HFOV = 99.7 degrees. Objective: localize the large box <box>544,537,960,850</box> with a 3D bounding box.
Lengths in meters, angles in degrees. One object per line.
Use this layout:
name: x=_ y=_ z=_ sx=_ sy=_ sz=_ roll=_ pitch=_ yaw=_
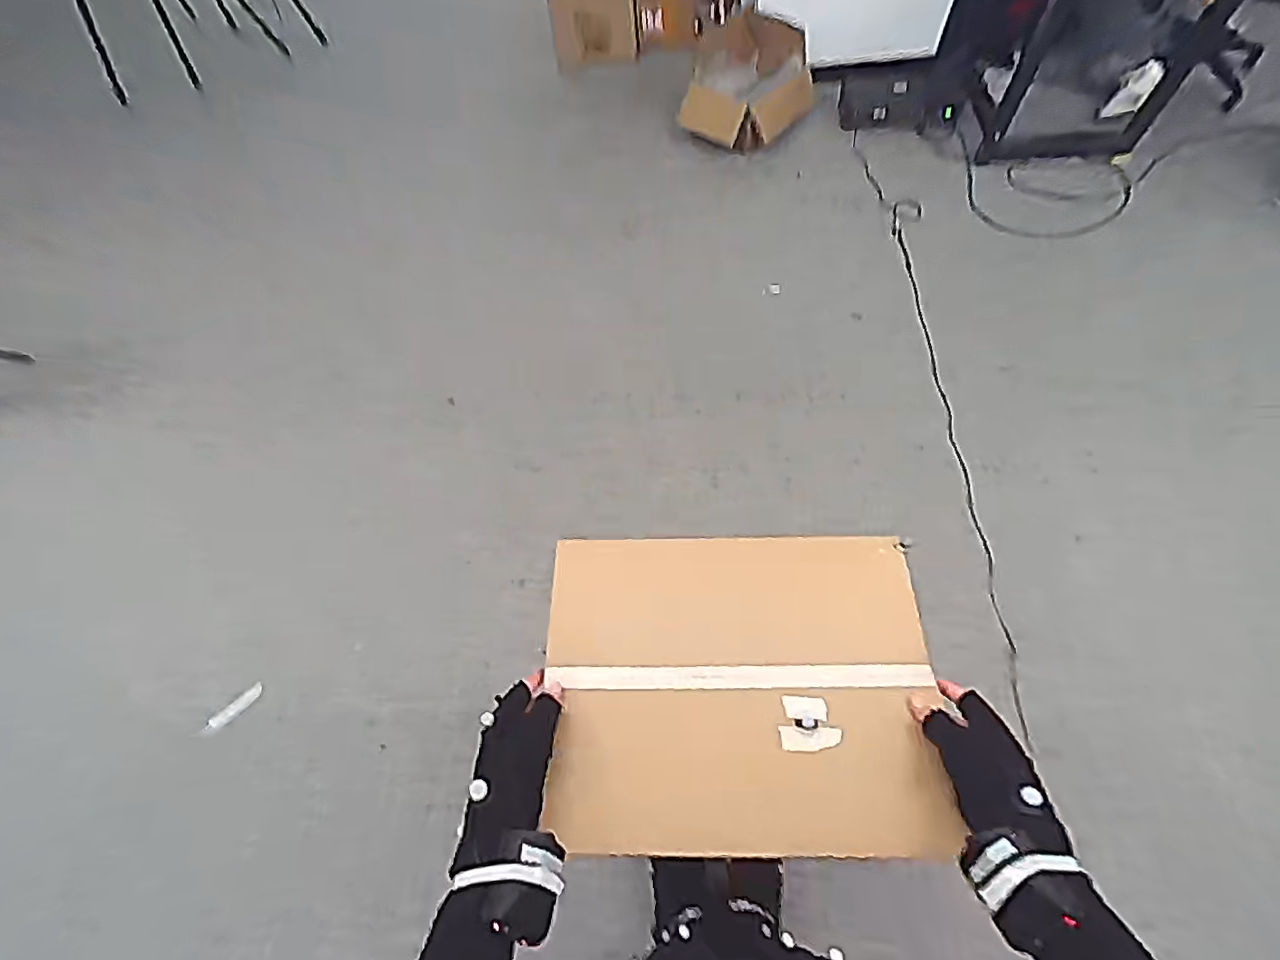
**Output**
large box: x=0.107 y=0.280 z=0.712 sx=0.408 sy=0.320 sz=0.320 roll=-1 pitch=62 yaw=2
